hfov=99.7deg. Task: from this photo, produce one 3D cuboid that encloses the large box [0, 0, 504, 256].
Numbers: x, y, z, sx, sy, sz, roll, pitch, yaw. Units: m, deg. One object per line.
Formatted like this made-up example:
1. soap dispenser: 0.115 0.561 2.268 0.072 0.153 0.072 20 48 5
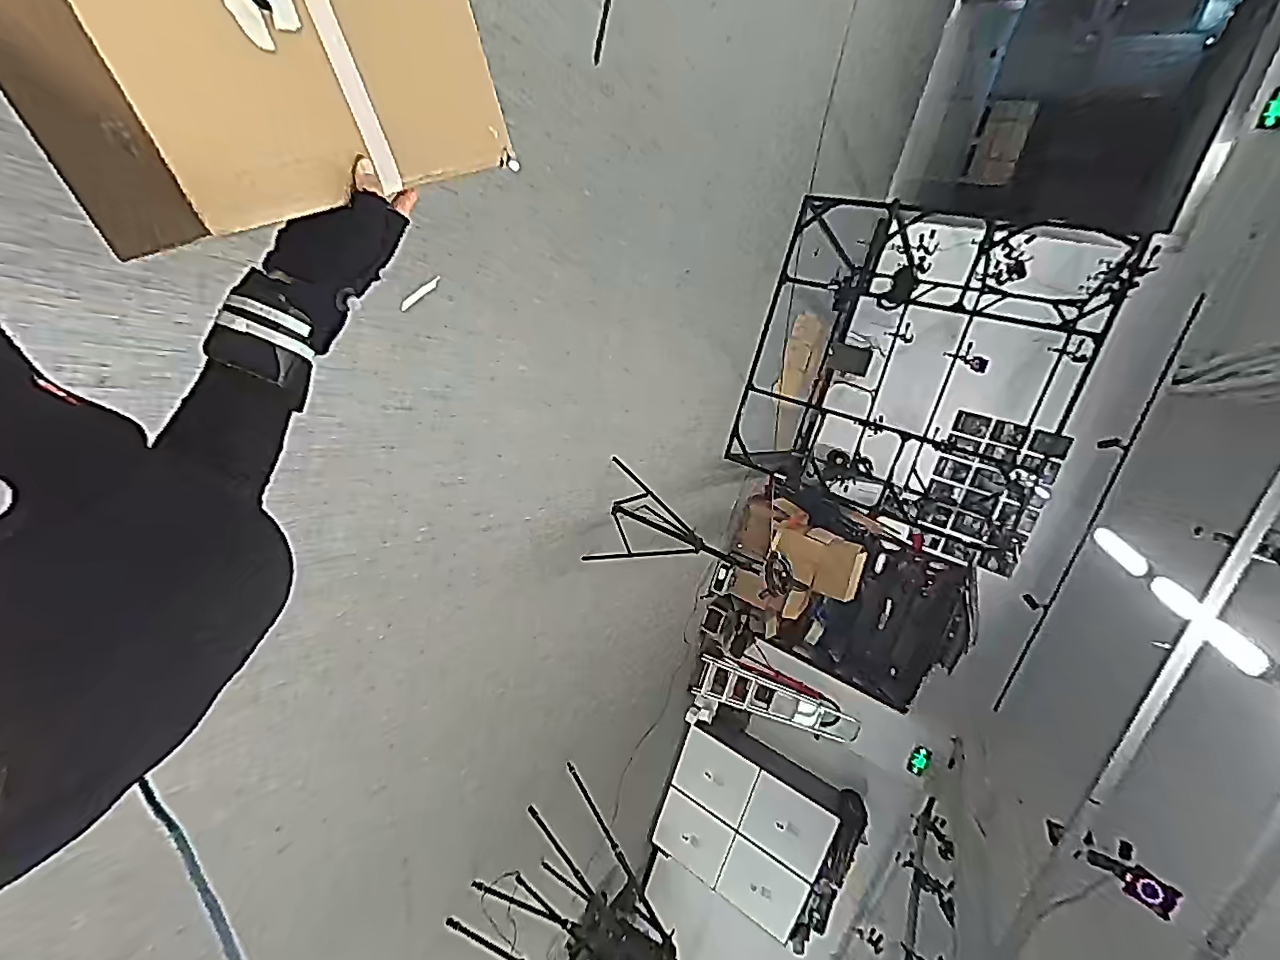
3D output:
1. large box: -0.398 -0.460 0.488 0.320 0.320 0.408 -43 132 -37
